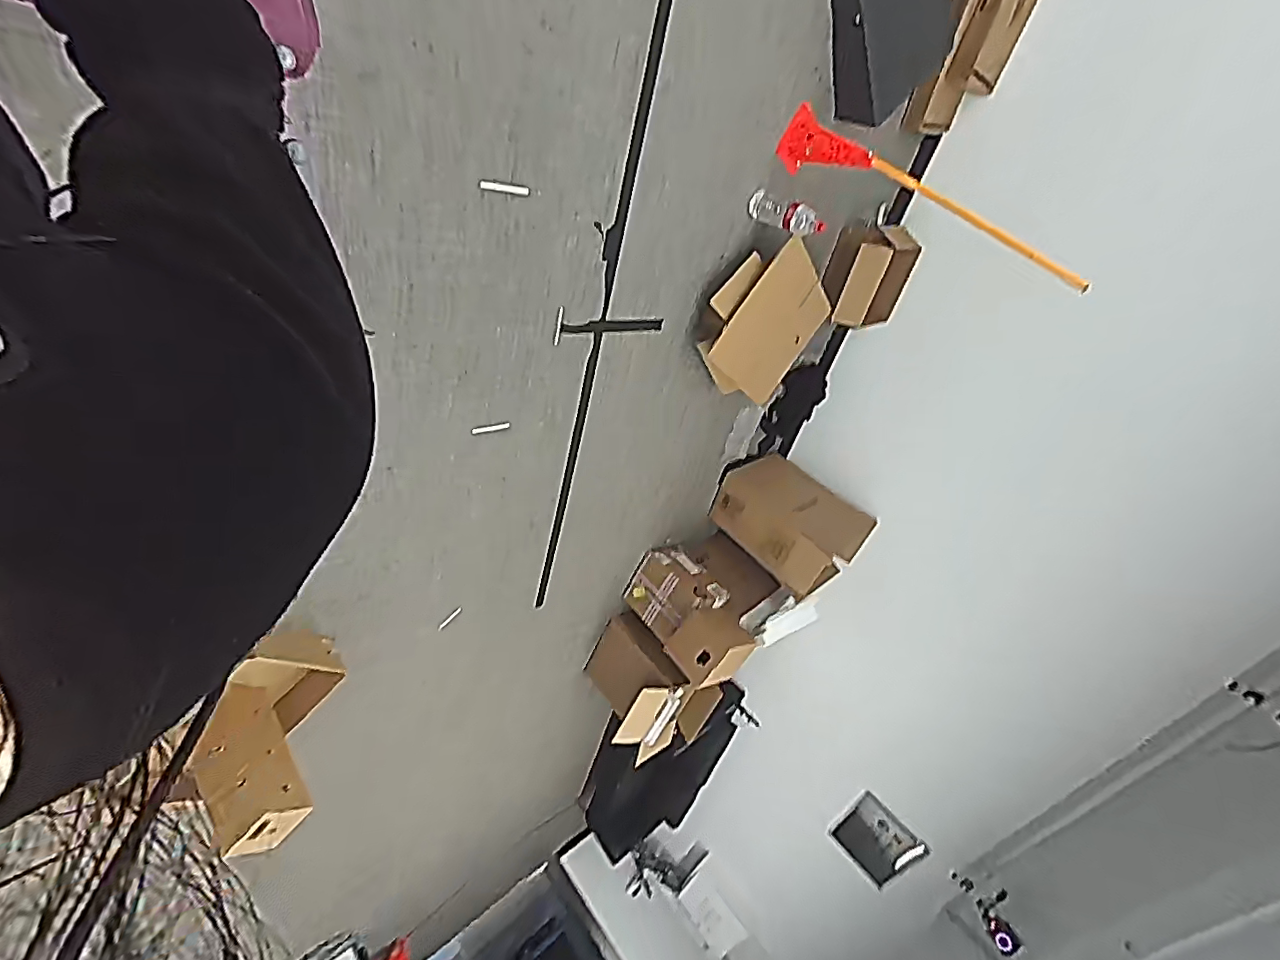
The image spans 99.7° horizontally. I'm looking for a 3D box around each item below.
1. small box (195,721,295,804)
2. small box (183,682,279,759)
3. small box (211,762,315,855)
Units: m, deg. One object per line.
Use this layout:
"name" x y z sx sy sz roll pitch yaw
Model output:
"small box" -1.253 0.891 1.716 0.168 0.176 0.179 -46 149 -7
"small box" -1.358 0.798 1.797 0.168 0.176 0.179 -45 149 -8
"small box" -1.142 0.984 1.637 0.168 0.176 0.179 -46 151 -6
